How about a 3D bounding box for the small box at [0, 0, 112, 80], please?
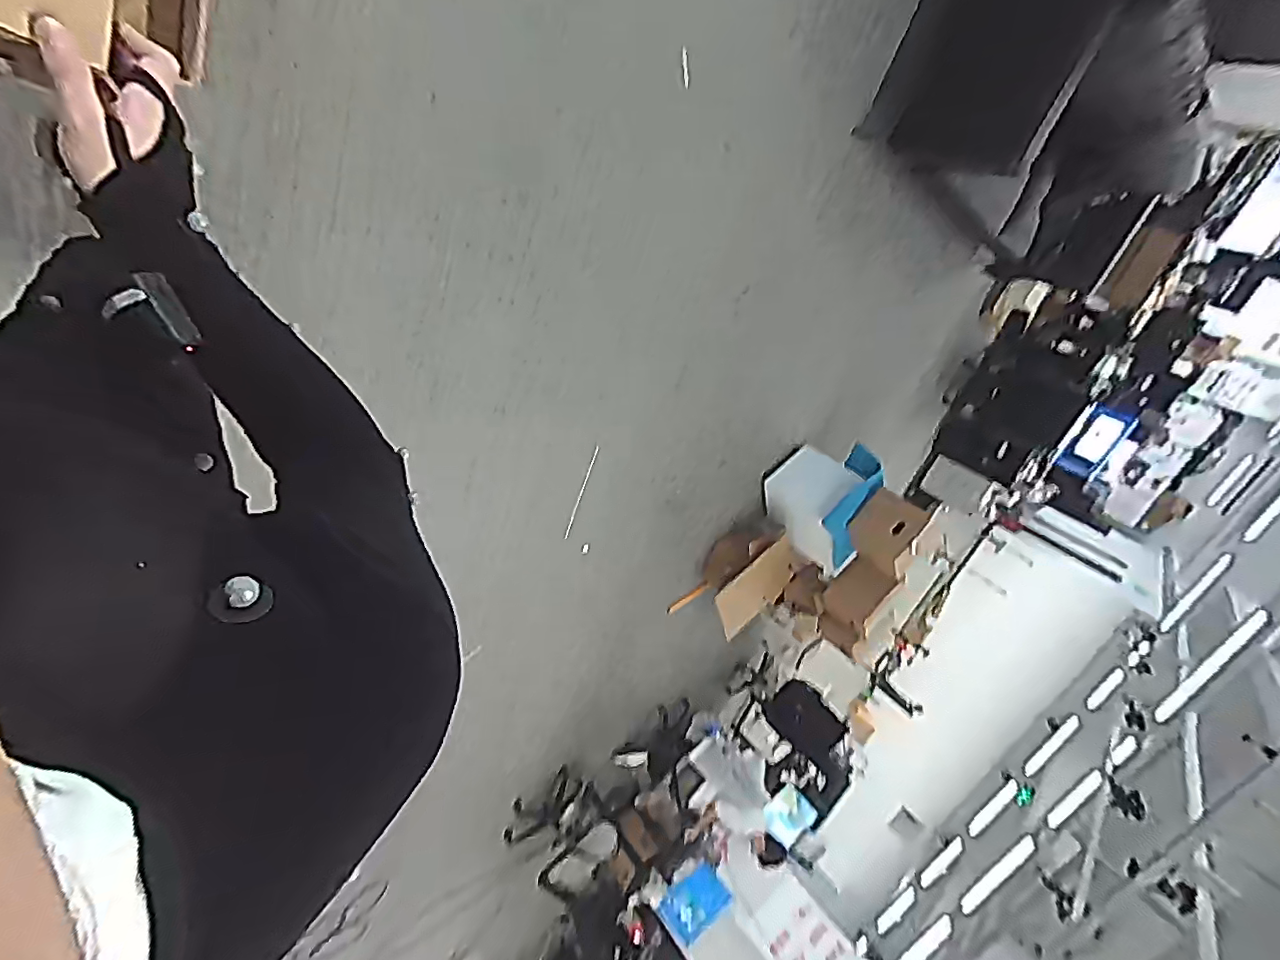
[{"bbox_3d":[-0.464,-0.398,0.348,0.168,0.176,0.179,1,108,-54],"label":"small box"}]
